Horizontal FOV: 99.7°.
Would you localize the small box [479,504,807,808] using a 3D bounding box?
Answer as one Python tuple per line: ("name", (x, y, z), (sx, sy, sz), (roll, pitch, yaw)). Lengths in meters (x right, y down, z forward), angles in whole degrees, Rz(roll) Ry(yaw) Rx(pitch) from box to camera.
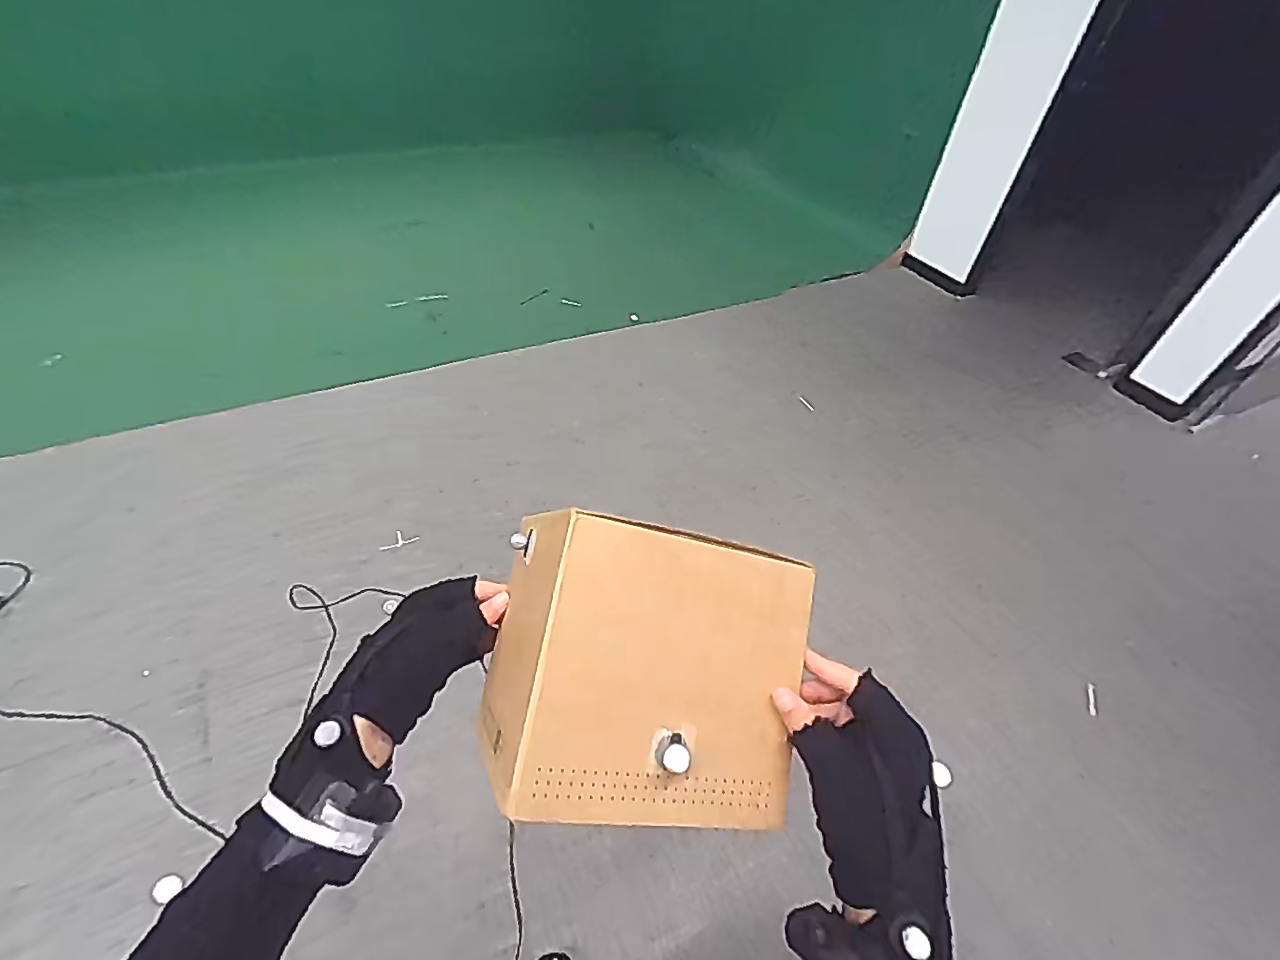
("small box", (-0.006, 0.122, 0.405), (0.179, 0.168, 0.176), (15, 79, -20))
